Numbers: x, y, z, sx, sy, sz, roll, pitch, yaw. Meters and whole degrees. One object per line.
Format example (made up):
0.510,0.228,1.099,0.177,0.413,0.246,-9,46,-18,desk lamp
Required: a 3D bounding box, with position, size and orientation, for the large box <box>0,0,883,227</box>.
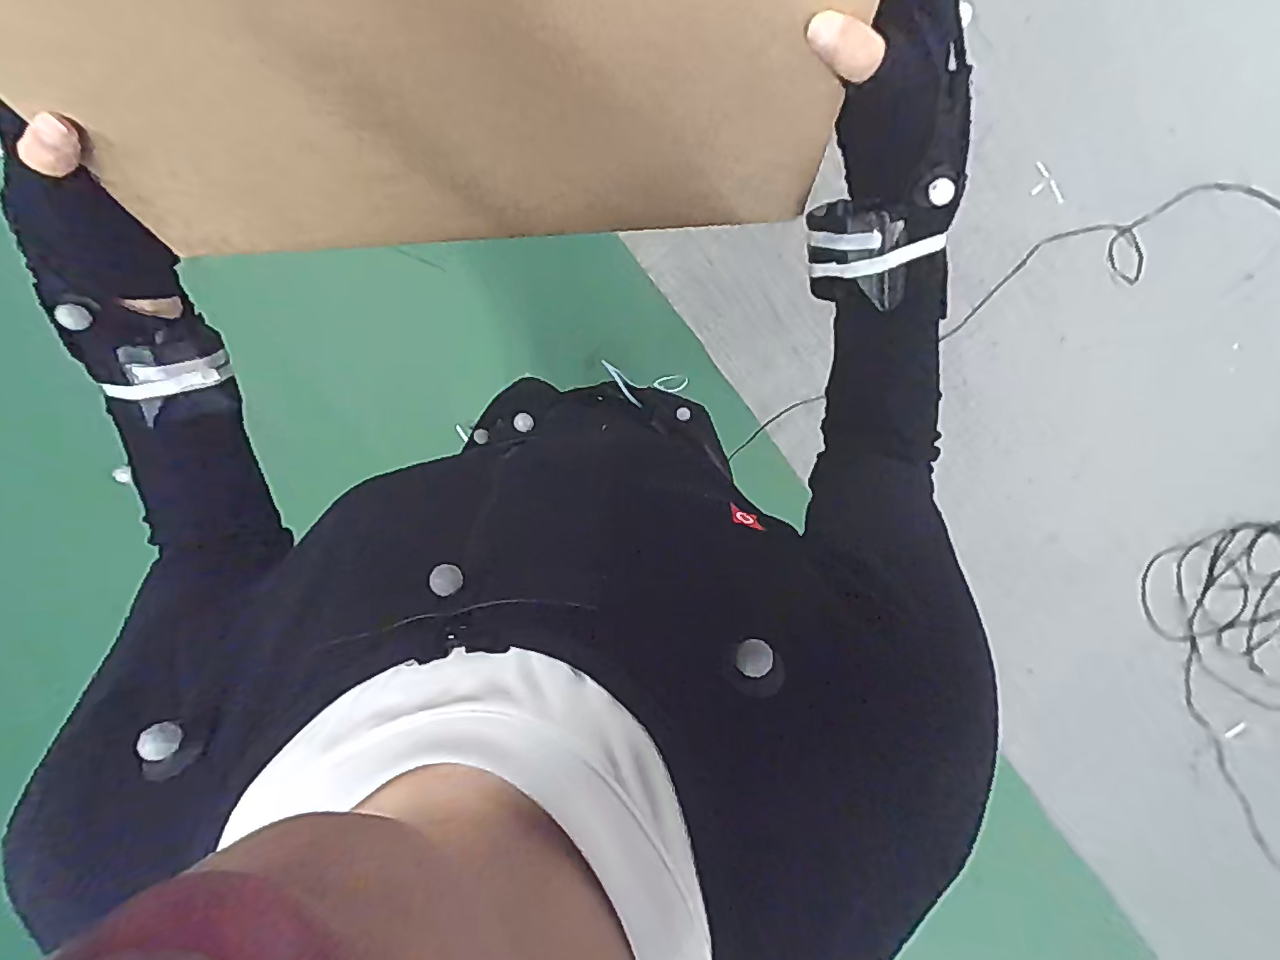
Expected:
-0.094,-0.357,0.256,0.408,0.320,0.320,-3,72,-3,large box
